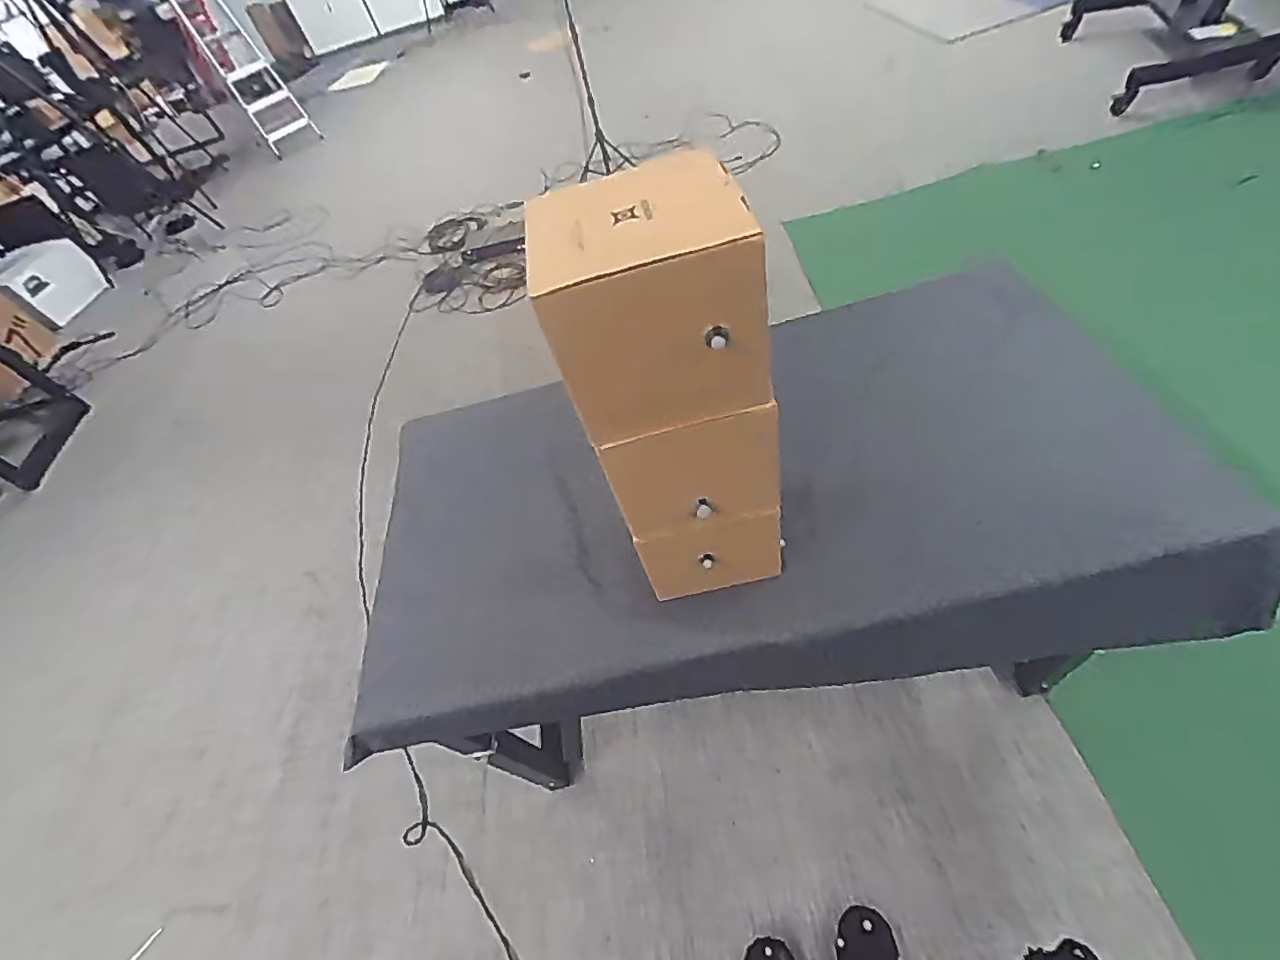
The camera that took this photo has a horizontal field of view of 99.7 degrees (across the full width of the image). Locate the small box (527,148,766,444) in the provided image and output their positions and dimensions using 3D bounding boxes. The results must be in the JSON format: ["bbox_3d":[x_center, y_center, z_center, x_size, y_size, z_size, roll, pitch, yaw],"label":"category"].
[{"bbox_3d":[0.010,-0.160,0.494,0.179,0.176,0.168,-15,51,5],"label":"small box"}]

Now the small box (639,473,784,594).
[{"bbox_3d":[0.086,0.036,0.743,0.179,0.176,0.168,-15,52,3],"label":"small box"}]

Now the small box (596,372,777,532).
[{"bbox_3d":[0.049,-0.063,0.618,0.179,0.176,0.168,-13,52,5],"label":"small box"}]
